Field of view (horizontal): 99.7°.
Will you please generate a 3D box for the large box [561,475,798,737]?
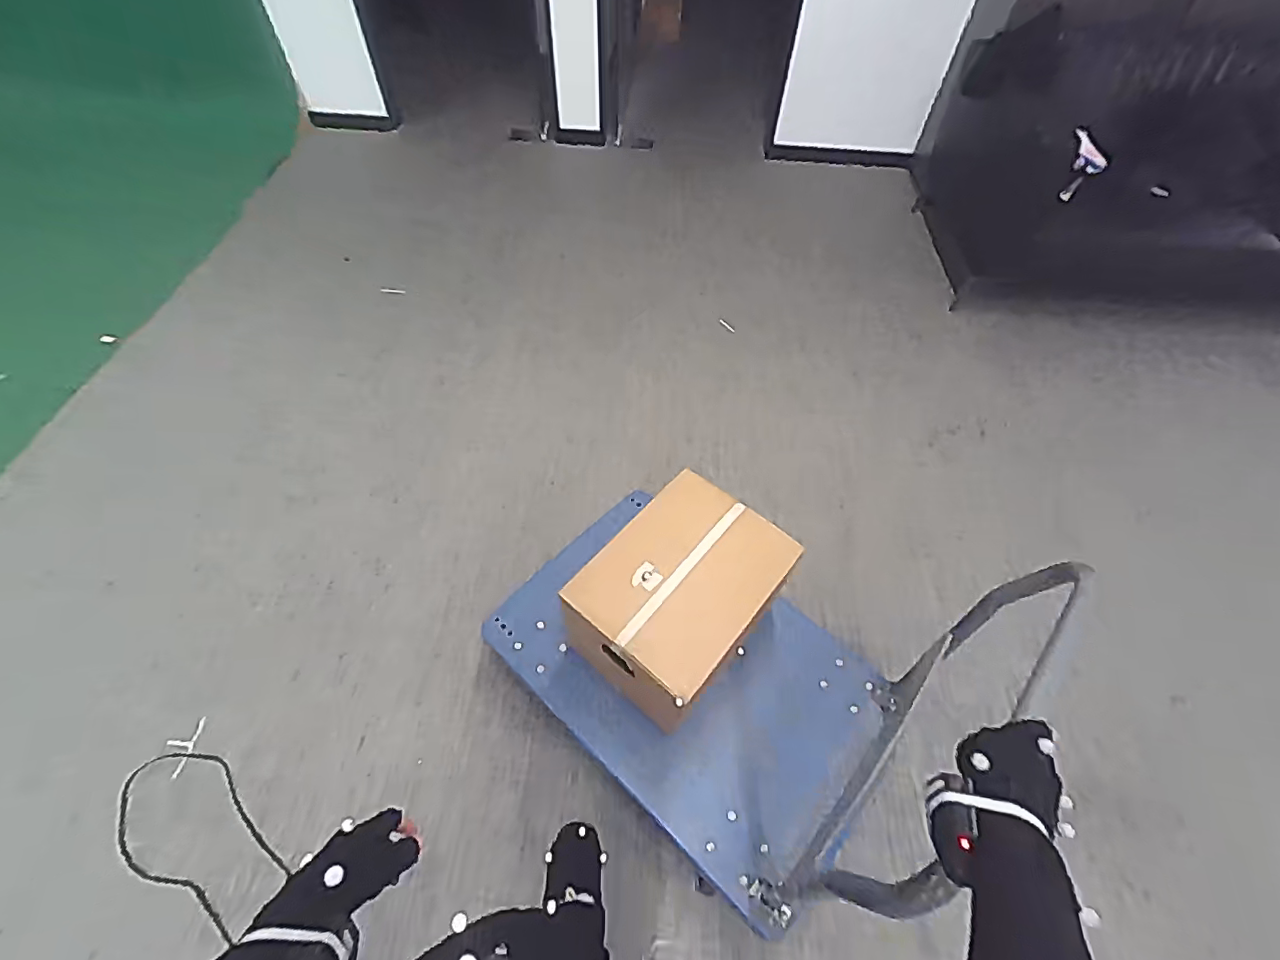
[{"bbox_3d":[0.083,0.275,1.190,0.320,0.320,0.408,35,61,22],"label":"large box"}]
